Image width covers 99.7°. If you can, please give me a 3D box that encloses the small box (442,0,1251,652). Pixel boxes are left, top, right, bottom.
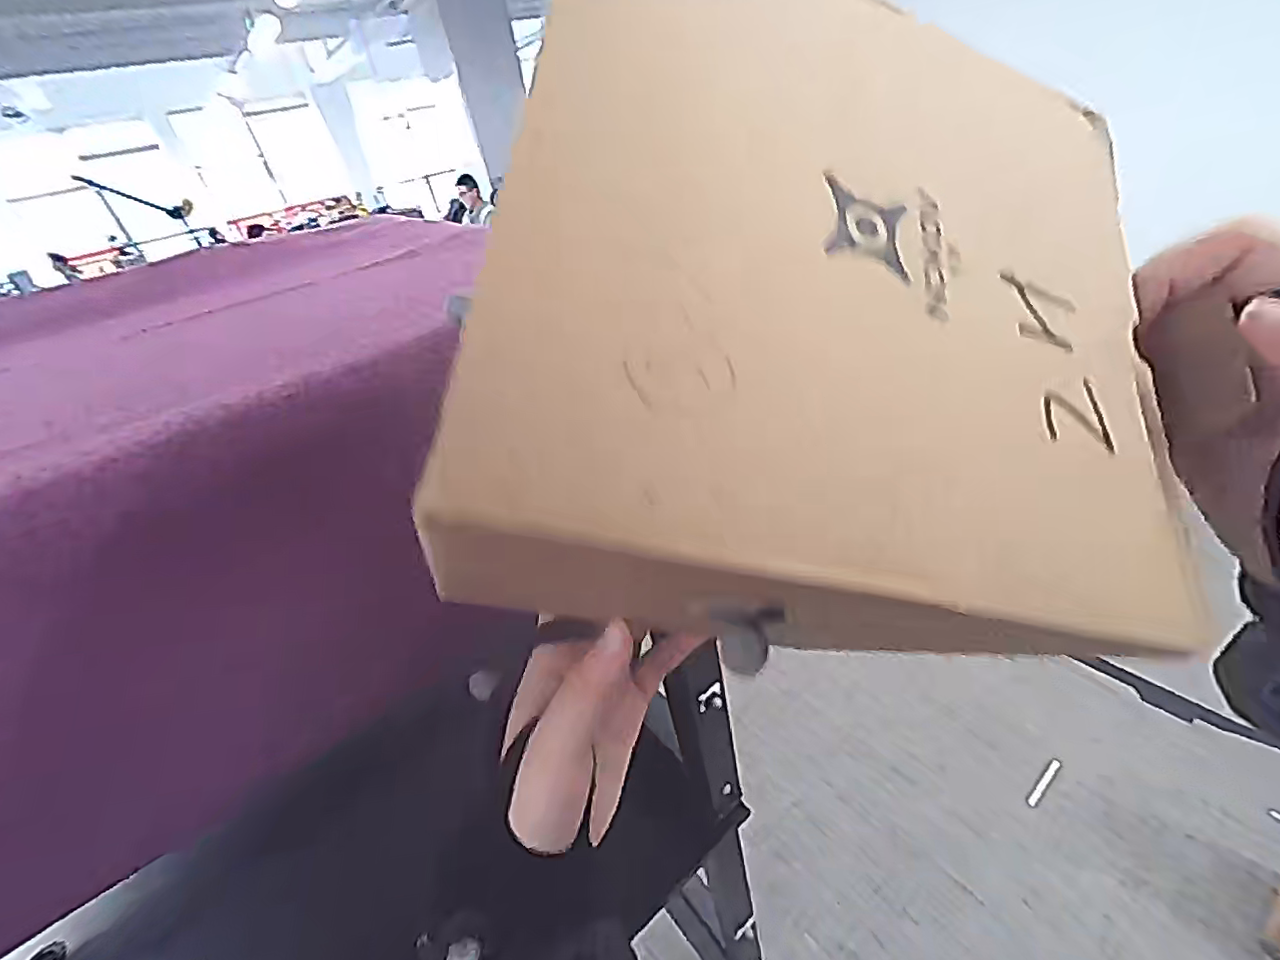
[{"bbox_3d":[0.037,-0.032,0.196,0.179,0.176,0.168,13,70,-16],"label":"small box"}]

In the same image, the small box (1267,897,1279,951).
[{"bbox_3d":[1.309,0.829,0.983,0.179,0.176,0.168,-29,38,-25],"label":"small box"}]
